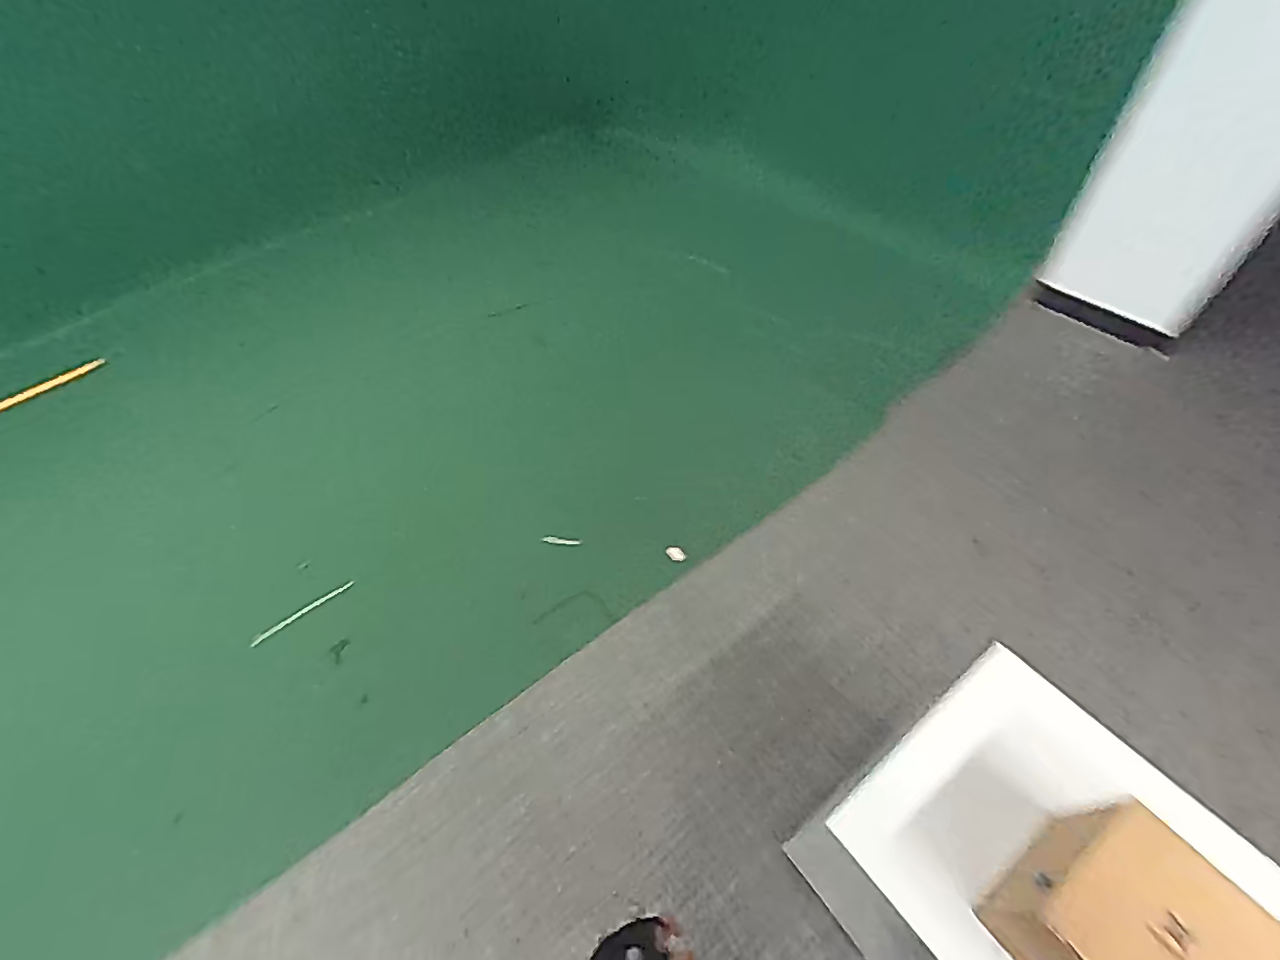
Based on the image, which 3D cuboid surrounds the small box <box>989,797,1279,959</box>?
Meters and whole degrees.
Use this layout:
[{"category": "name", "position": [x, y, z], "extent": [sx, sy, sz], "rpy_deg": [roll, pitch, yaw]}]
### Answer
[{"category": "small box", "position": [0.515, 0.474, 0.567], "extent": [0.179, 0.176, 0.168], "rpy_deg": [-32, 55, -17]}]
